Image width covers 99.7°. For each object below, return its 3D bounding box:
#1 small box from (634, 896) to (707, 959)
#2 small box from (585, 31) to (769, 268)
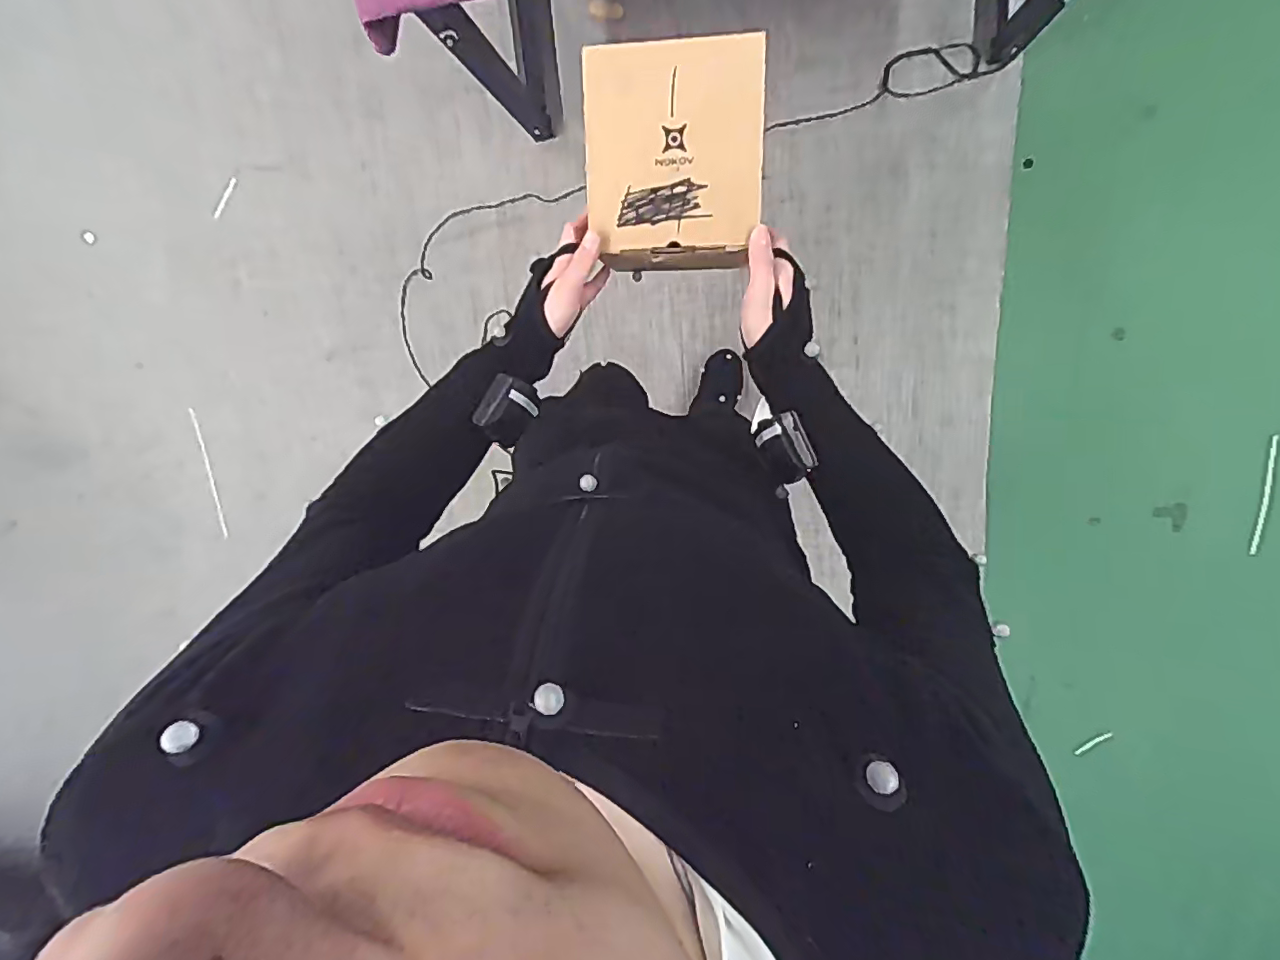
[{"bbox_3d":[0.086,1.246,1.421,0.168,0.176,0.179,-5,104,10],"label":"small box"},{"bbox_3d":[0.041,-0.325,0.573,0.168,0.176,0.179,0,104,6],"label":"small box"}]
